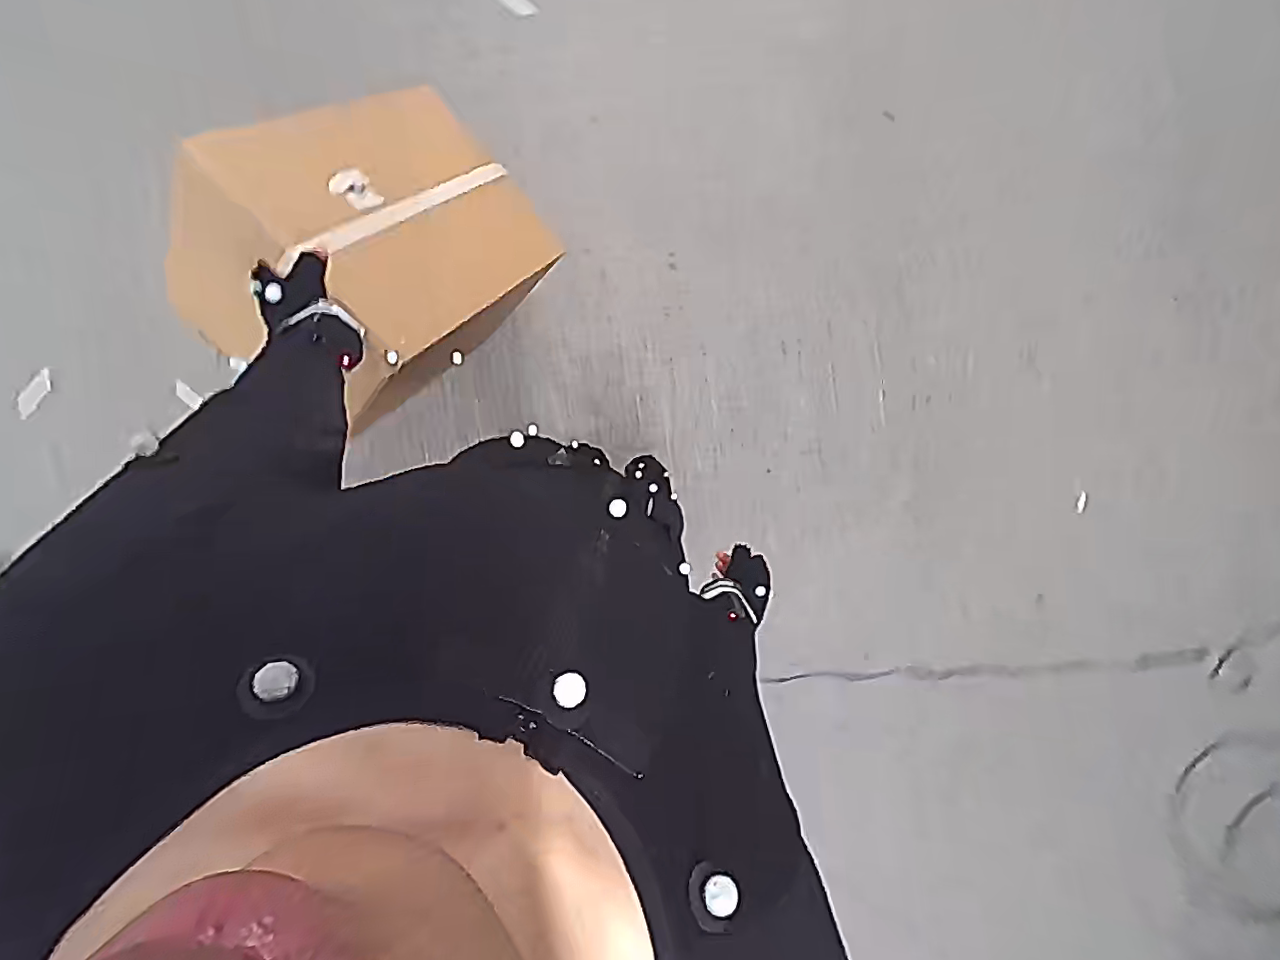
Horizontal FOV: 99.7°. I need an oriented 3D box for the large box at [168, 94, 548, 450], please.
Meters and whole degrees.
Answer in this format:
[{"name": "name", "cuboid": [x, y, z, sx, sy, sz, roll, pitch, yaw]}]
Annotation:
[{"name": "large box", "cuboid": [-0.425, -0.322, 0.861, 0.320, 0.320, 0.408, 46, 47, -16]}]
